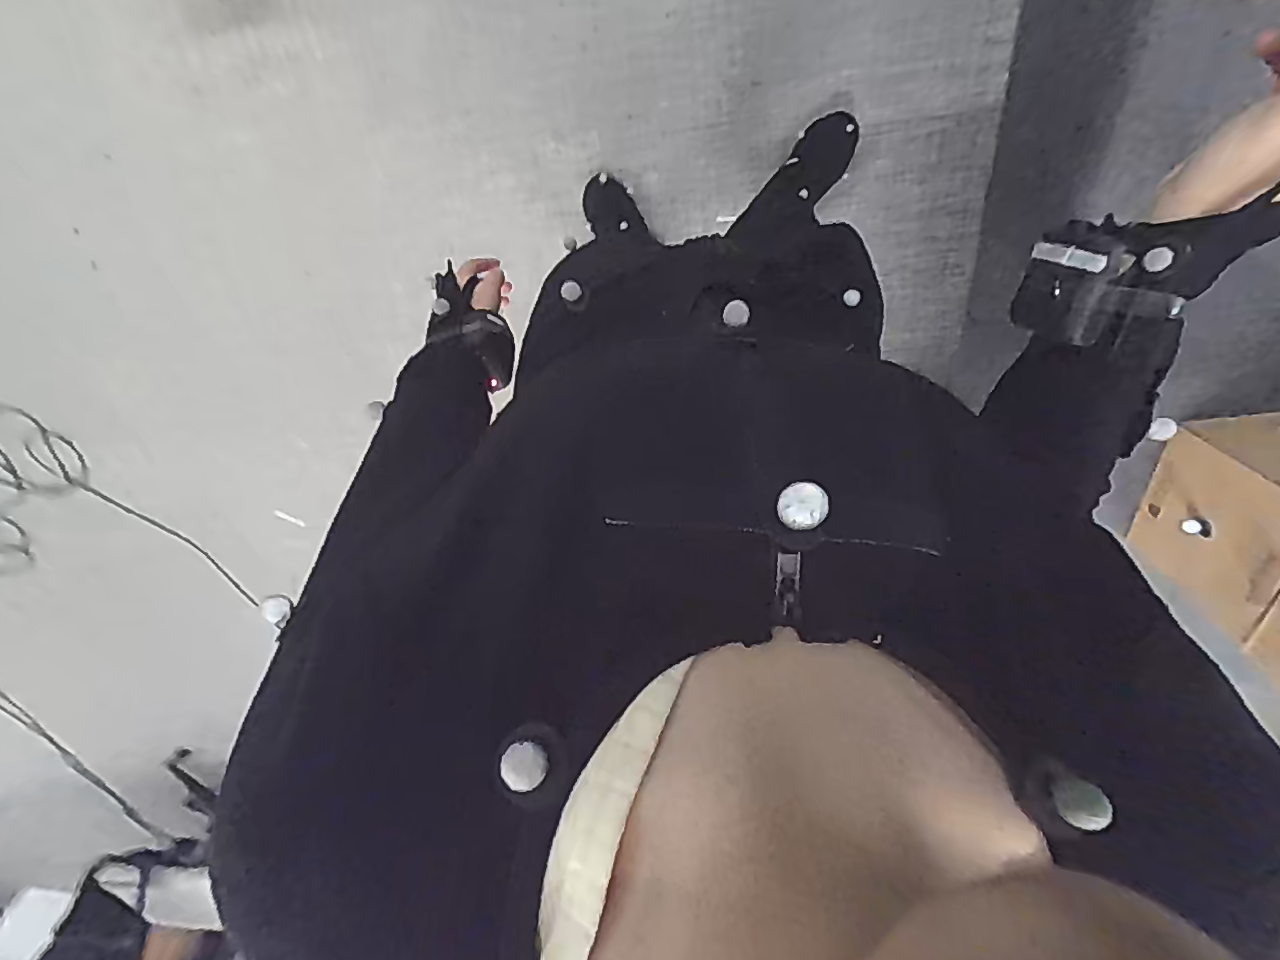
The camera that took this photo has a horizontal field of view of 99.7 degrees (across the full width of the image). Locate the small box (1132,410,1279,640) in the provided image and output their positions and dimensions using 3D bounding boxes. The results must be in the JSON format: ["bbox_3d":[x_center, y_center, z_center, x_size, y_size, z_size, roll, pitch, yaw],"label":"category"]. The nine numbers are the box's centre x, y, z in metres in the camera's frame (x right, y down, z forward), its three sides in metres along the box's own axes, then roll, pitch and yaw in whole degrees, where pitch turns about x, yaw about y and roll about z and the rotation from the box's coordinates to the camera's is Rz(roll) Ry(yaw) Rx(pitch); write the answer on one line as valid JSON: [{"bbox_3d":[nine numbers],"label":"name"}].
[{"bbox_3d":[0.662,0.037,0.543,0.179,0.176,0.168,-6,123,7],"label":"small box"}]
